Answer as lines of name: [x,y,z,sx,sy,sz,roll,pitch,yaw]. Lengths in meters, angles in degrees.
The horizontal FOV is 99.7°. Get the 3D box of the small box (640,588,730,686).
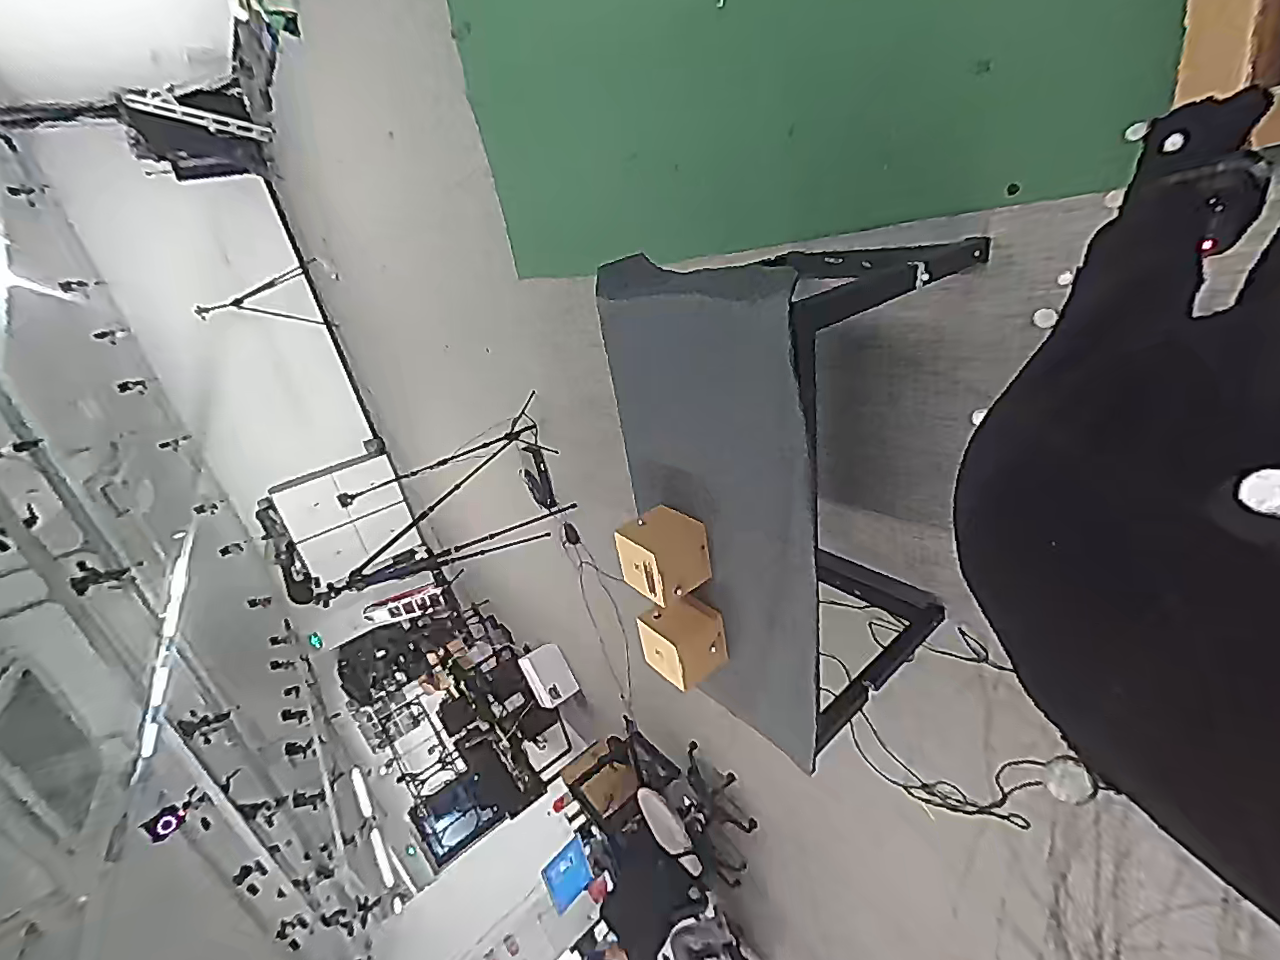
small box: [0.129,0.429,1.516,0.179,0.176,0.168,22,131,49]
